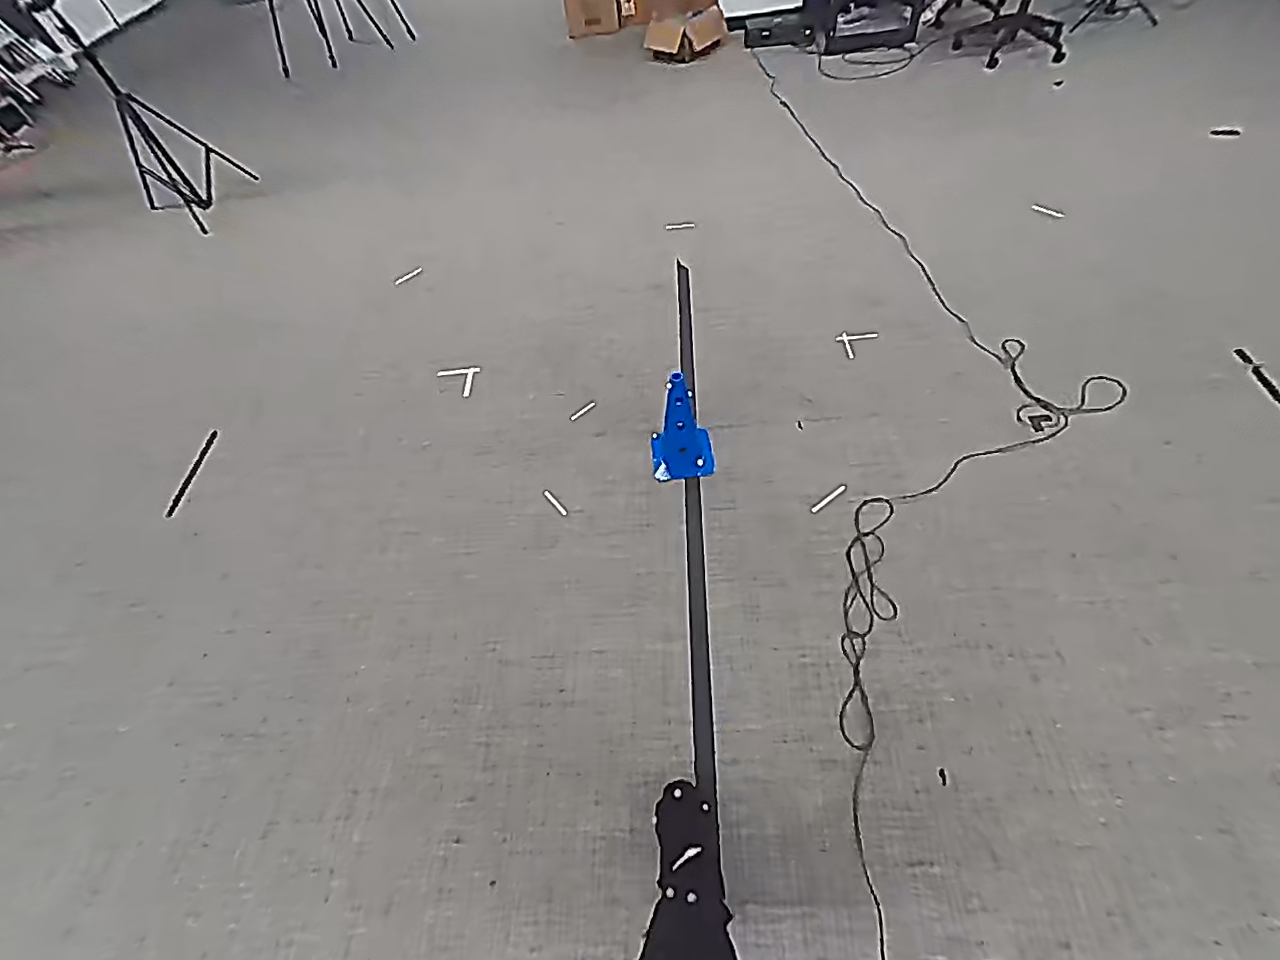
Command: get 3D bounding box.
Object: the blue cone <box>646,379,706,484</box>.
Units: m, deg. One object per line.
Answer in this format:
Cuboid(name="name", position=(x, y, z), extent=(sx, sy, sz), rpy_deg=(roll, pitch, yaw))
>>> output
Cuboid(name="blue cone", position=(0.100, -0.168, 1.682), extent=(0.192, 0.380, 0.193), rpy_deg=(-7, 53, 4))
